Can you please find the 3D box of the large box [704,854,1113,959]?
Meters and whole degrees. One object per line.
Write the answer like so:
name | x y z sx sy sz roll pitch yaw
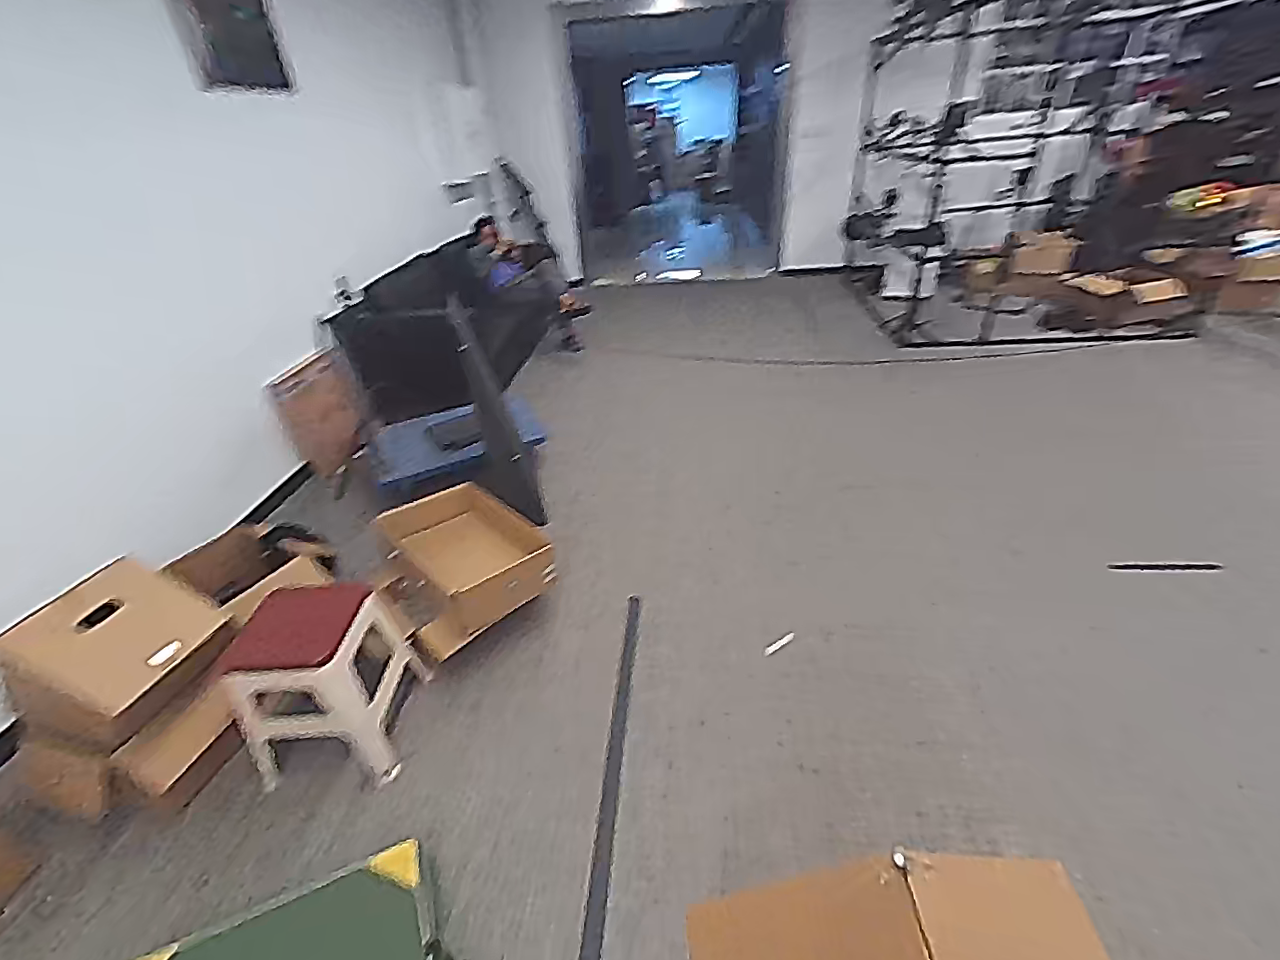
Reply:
large box | 0.329 0.681 0.649 0.320 0.408 0.320 20 41 -24
